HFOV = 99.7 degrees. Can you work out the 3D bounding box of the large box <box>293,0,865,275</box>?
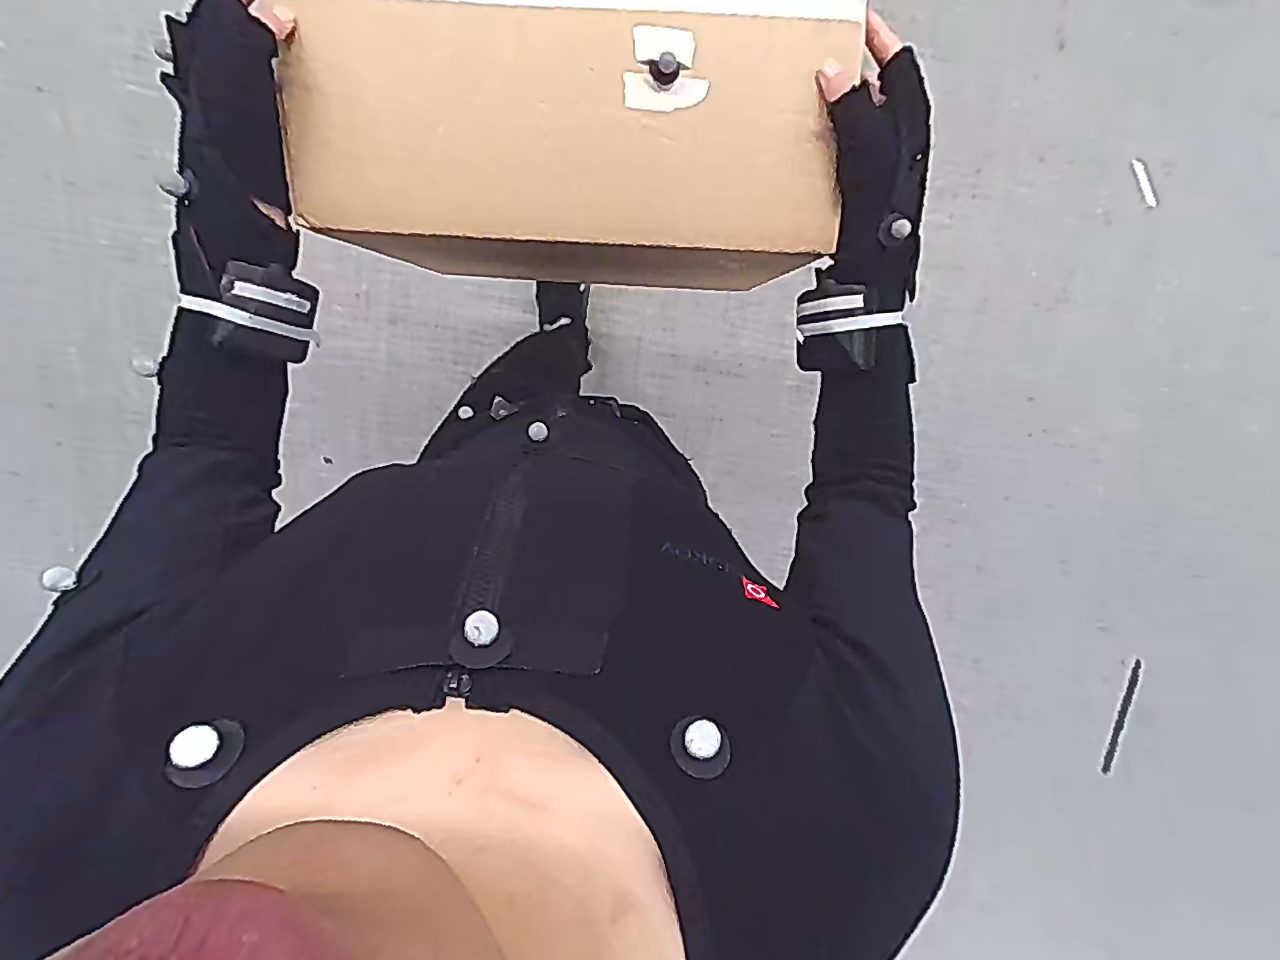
[{"bbox_3d":[-0.045,-0.381,0.517,0.408,0.320,0.320,2,105,-2],"label":"large box"}]
